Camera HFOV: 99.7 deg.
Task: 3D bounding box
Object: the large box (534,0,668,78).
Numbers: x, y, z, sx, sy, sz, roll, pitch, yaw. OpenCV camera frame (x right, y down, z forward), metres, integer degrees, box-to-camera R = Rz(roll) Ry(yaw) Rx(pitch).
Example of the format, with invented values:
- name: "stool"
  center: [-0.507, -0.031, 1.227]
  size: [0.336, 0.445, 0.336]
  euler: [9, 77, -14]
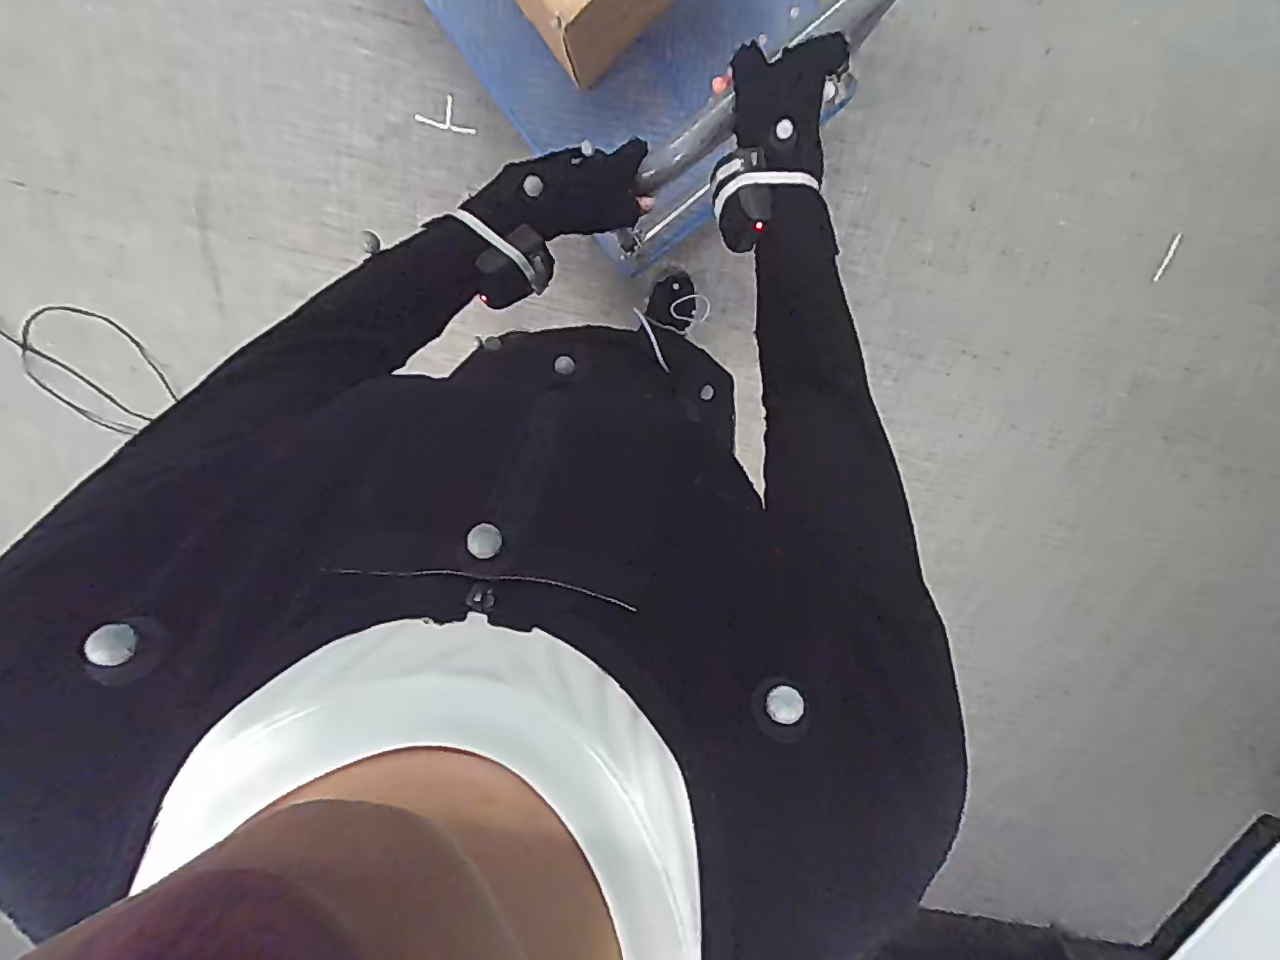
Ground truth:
- name: "large box"
  center: [-0.040, -0.939, 0.819]
  size: [0.408, 0.320, 0.320]
  euler: [-37, 107, 16]
